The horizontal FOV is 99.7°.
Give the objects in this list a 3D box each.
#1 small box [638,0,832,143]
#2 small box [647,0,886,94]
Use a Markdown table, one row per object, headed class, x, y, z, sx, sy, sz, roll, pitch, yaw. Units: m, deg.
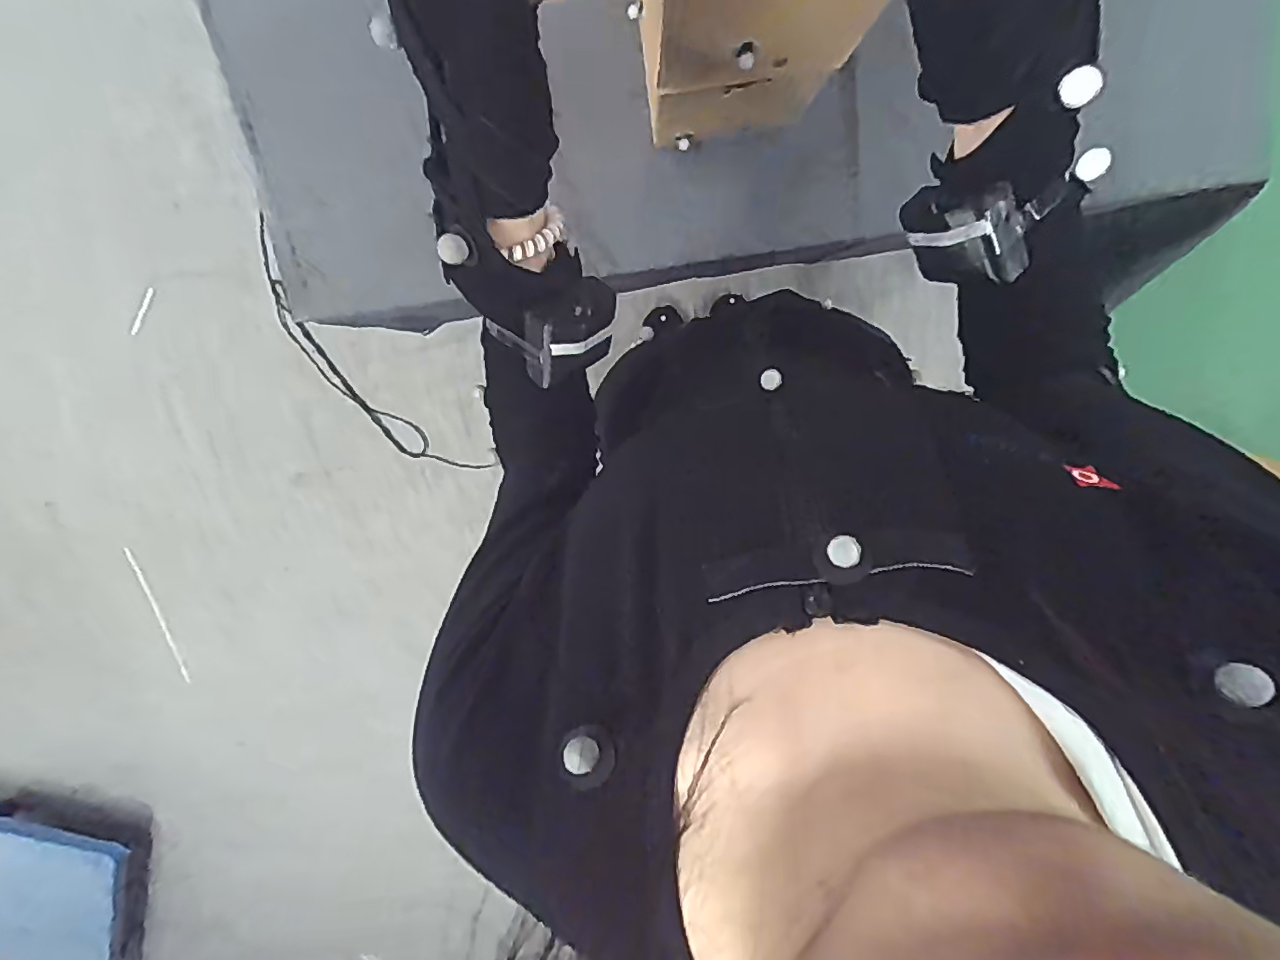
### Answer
| class | x | y | z | sx | sy | sz | roll | pitch | yaw |
| --- | --- | --- | --- | --- | --- | --- | --- | --- | --- |
| small box | 0.085 | -0.463 | 0.542 | 0.168 | 0.176 | 0.179 | -8 | 105 | 3 |
| small box | 0.084 | -0.419 | 0.386 | 0.168 | 0.176 | 0.179 | -7 | 106 | 3 |
